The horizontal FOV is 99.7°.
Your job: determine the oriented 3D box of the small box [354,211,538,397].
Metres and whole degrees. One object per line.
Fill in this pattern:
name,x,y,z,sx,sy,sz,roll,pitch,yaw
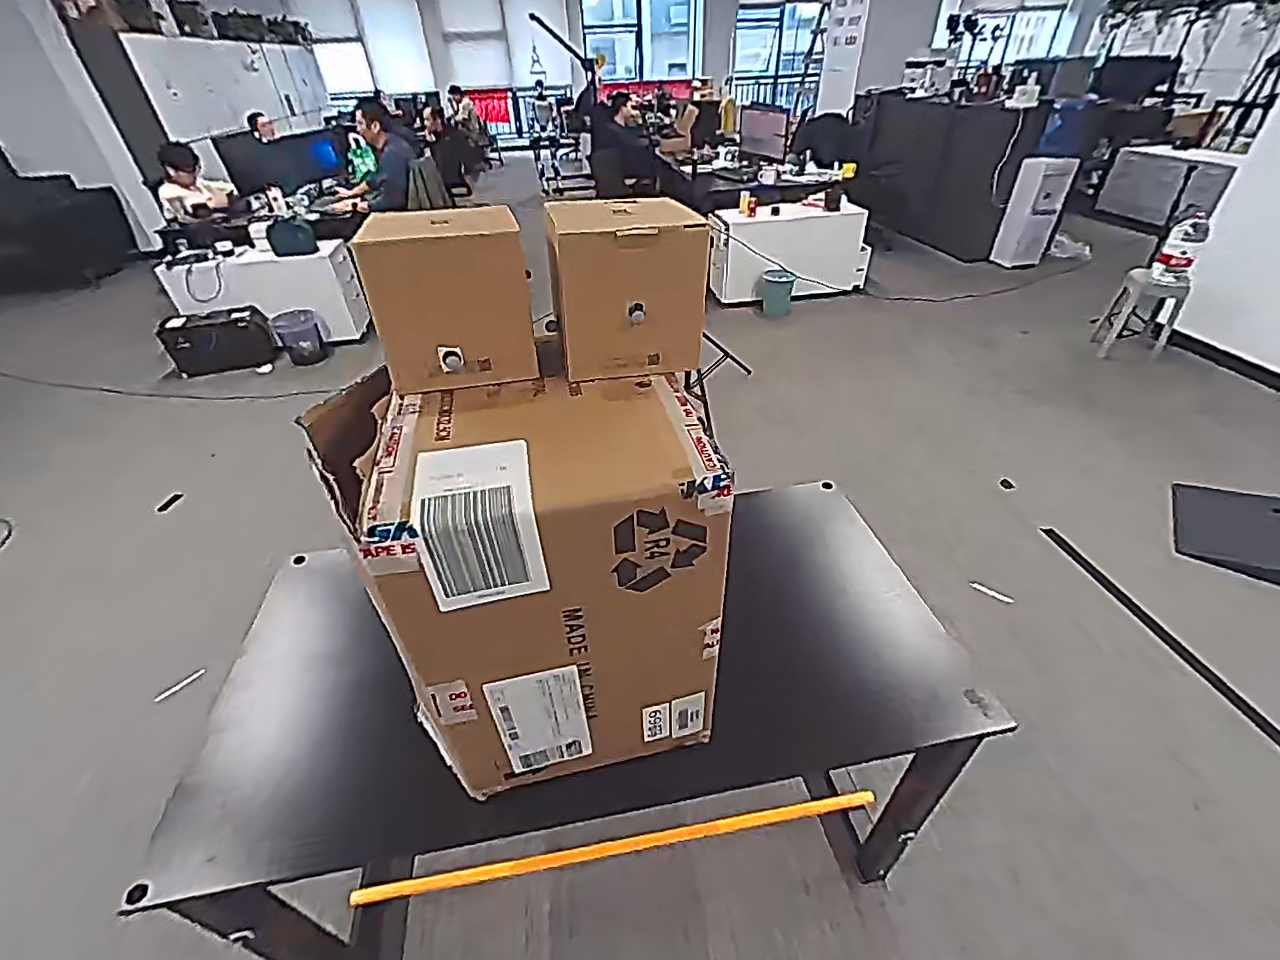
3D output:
small box,-0.224,-0.218,0.657,0.168,0.176,0.179,-11,37,-12
